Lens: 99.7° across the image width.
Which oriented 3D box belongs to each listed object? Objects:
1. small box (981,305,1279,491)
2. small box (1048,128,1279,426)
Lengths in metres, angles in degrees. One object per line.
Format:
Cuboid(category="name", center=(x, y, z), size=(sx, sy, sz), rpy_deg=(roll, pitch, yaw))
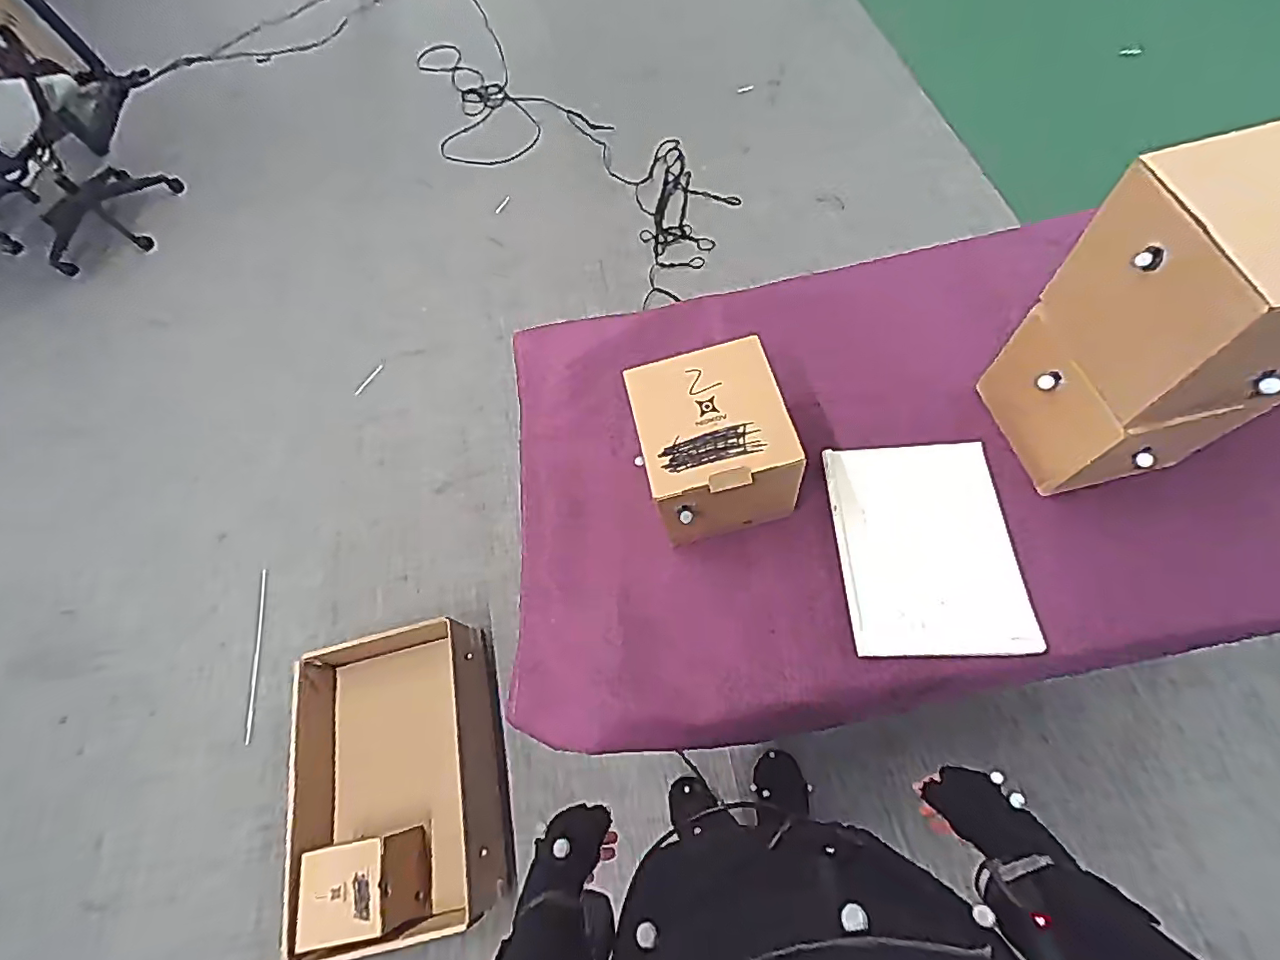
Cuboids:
Cuboid(category="small box", center=(0.544, -0.100, 0.629), size=(0.168, 0.176, 0.179), rpy_deg=(-14, 63, 3))
Cuboid(category="small box", center=(0.519, -0.174, 0.483), size=(0.168, 0.176, 0.179), rpy_deg=(-12, 64, 5))
